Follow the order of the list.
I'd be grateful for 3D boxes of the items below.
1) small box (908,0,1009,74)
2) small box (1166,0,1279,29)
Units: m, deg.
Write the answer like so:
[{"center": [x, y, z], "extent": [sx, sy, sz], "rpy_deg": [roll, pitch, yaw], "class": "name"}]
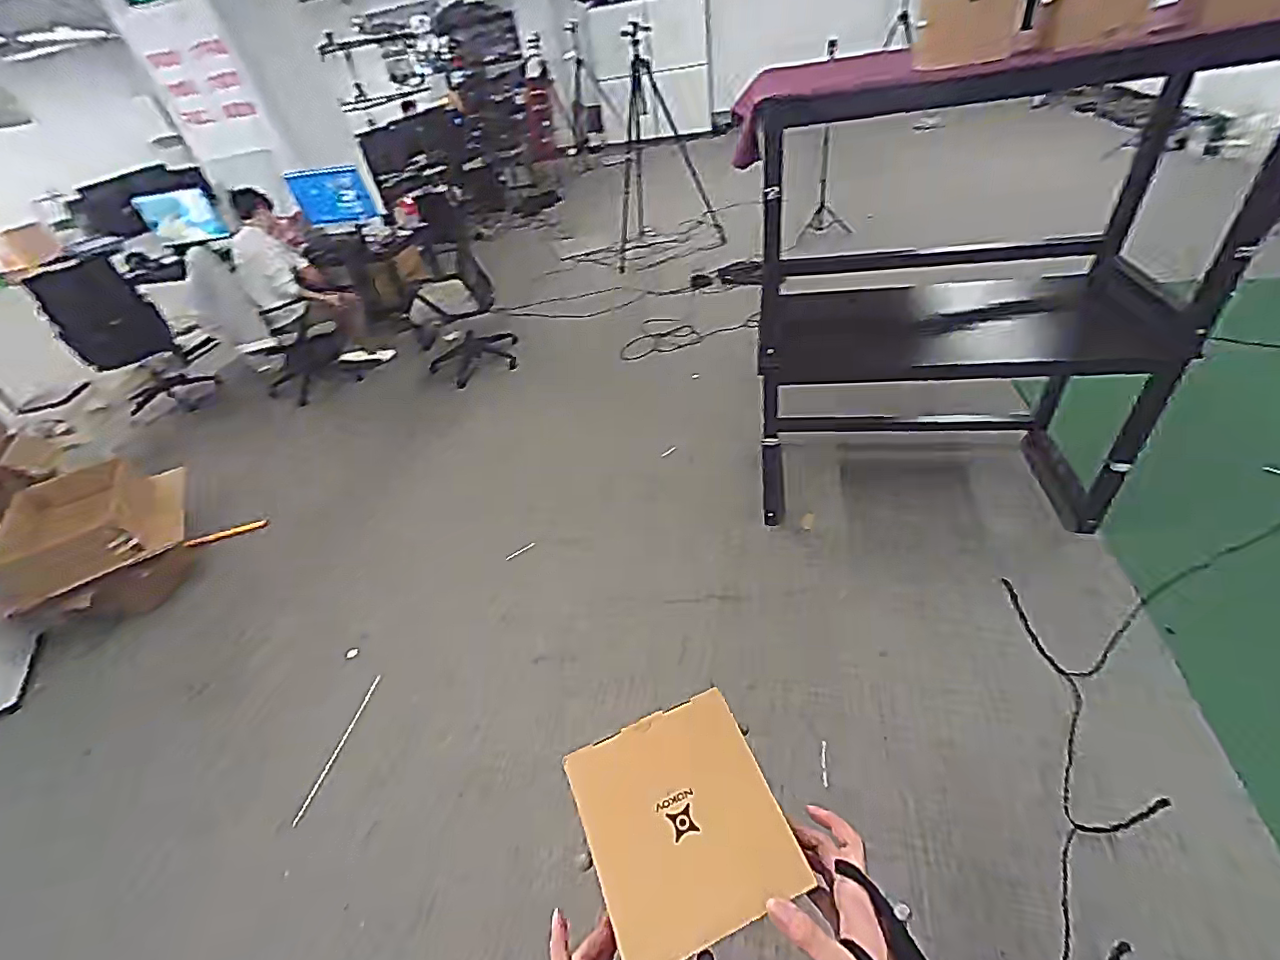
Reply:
[{"center": [0.715, -1.038, 1.222], "extent": [0.179, 0.176, 0.168], "rpy_deg": [3, 41, 16], "class": "small box"}, {"center": [1.227, -1.044, 1.099], "extent": [0.179, 0.176, 0.168], "rpy_deg": [2, 43, 17], "class": "small box"}]
